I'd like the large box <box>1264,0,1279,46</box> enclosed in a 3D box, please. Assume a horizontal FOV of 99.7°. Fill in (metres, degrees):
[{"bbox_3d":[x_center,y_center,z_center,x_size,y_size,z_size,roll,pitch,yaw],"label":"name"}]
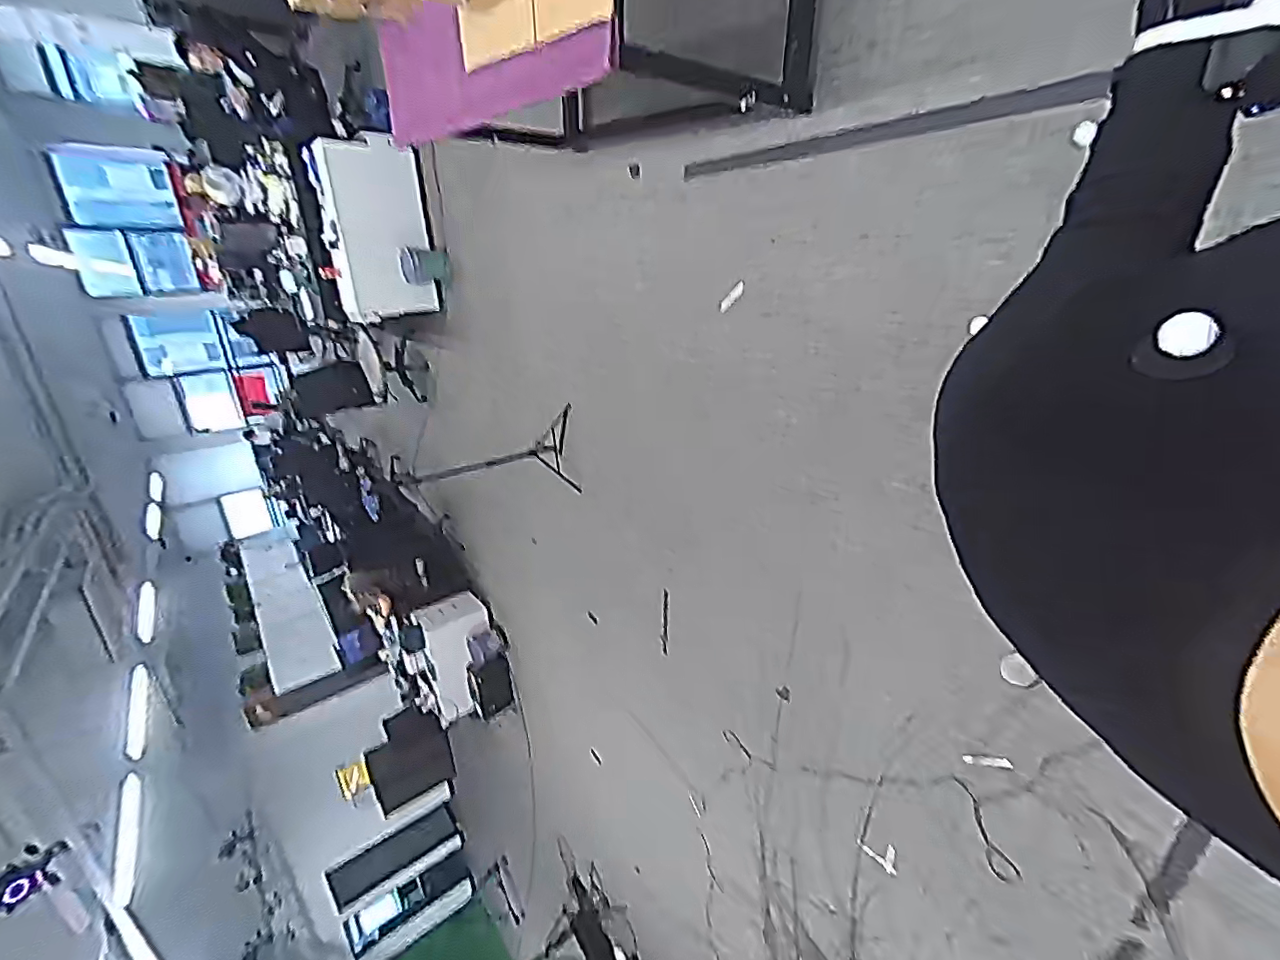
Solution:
[{"bbox_3d":[0.624,-0.412,0.220,0.408,0.320,0.320,26,134,43],"label":"large box"}]
